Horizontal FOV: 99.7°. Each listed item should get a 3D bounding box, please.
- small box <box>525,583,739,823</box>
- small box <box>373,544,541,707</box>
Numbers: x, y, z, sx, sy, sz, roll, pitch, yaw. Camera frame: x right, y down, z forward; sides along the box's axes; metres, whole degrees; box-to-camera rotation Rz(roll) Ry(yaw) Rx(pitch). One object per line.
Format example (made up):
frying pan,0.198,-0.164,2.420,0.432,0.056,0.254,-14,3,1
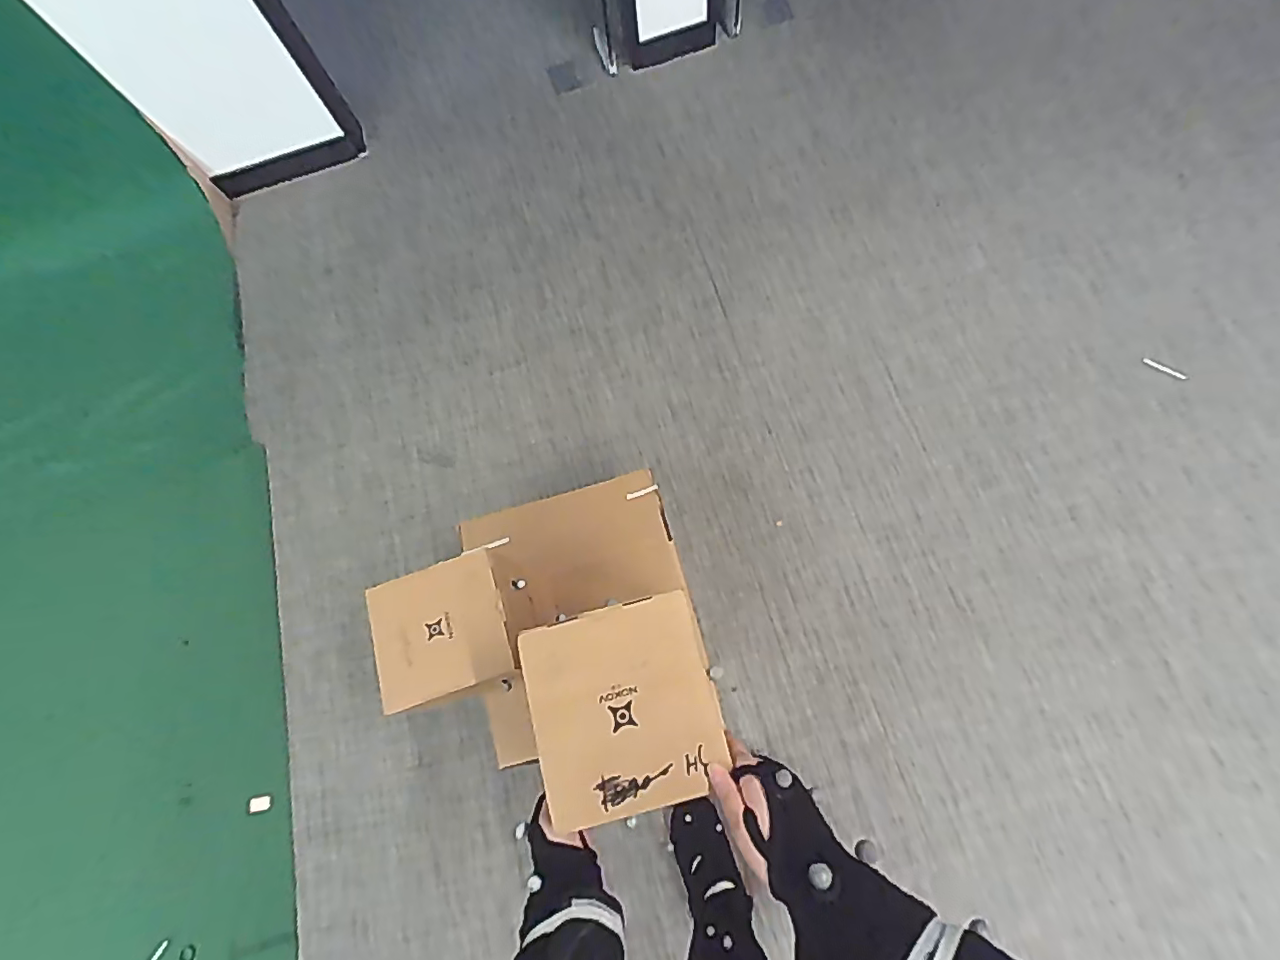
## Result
small box,-0.006,0.220,0.567,0.168,0.176,0.179,-16,73,1
small box,-0.243,0.207,0.772,0.179,0.176,0.168,-20,70,1
